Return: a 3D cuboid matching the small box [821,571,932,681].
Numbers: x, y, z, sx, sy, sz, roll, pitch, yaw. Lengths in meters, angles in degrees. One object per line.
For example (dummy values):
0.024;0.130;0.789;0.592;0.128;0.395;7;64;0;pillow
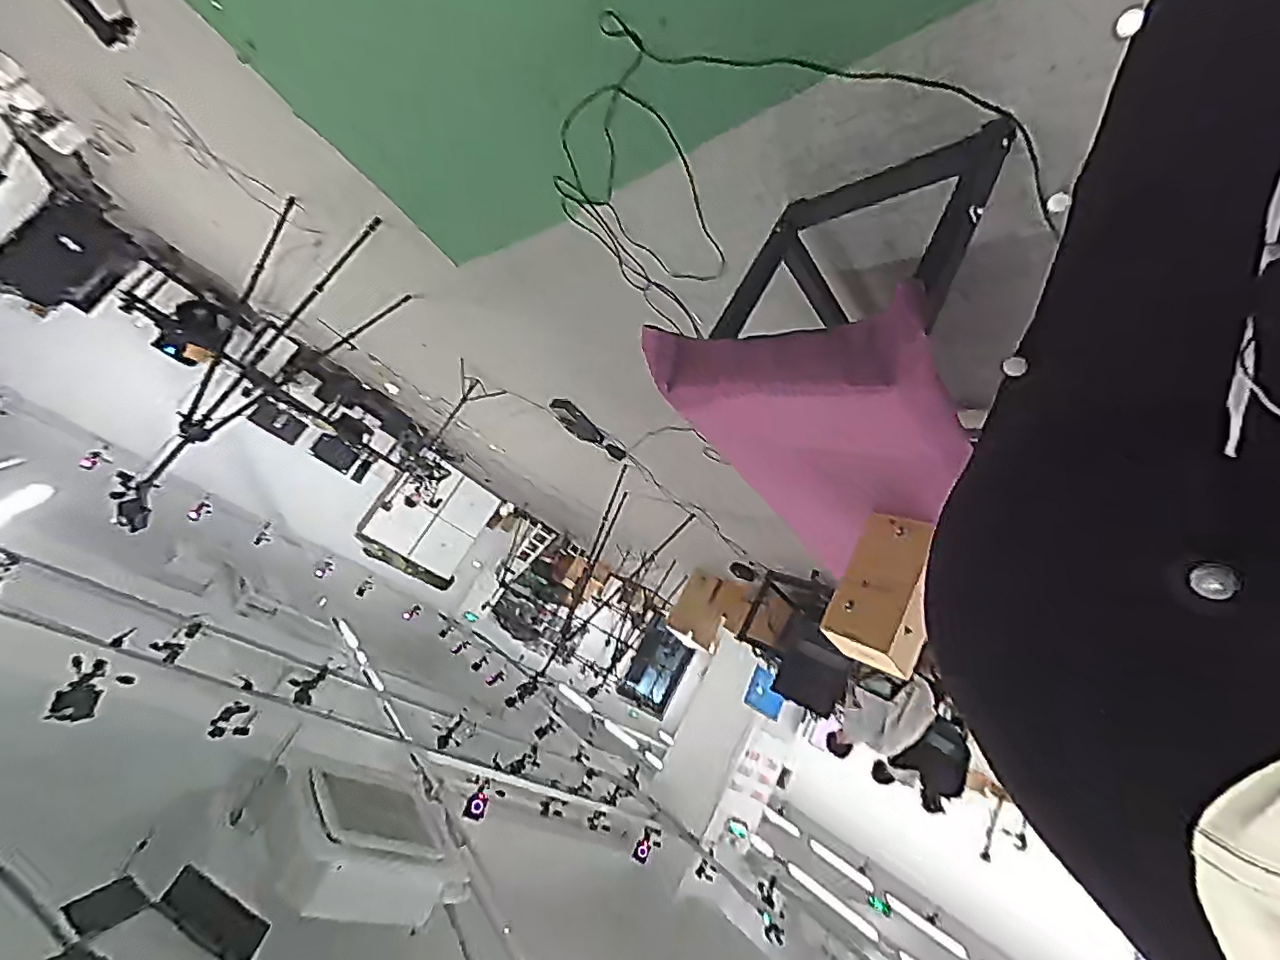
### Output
0.562;0.338;1.276;0.168;0.176;0.179;13;156;48;small box
